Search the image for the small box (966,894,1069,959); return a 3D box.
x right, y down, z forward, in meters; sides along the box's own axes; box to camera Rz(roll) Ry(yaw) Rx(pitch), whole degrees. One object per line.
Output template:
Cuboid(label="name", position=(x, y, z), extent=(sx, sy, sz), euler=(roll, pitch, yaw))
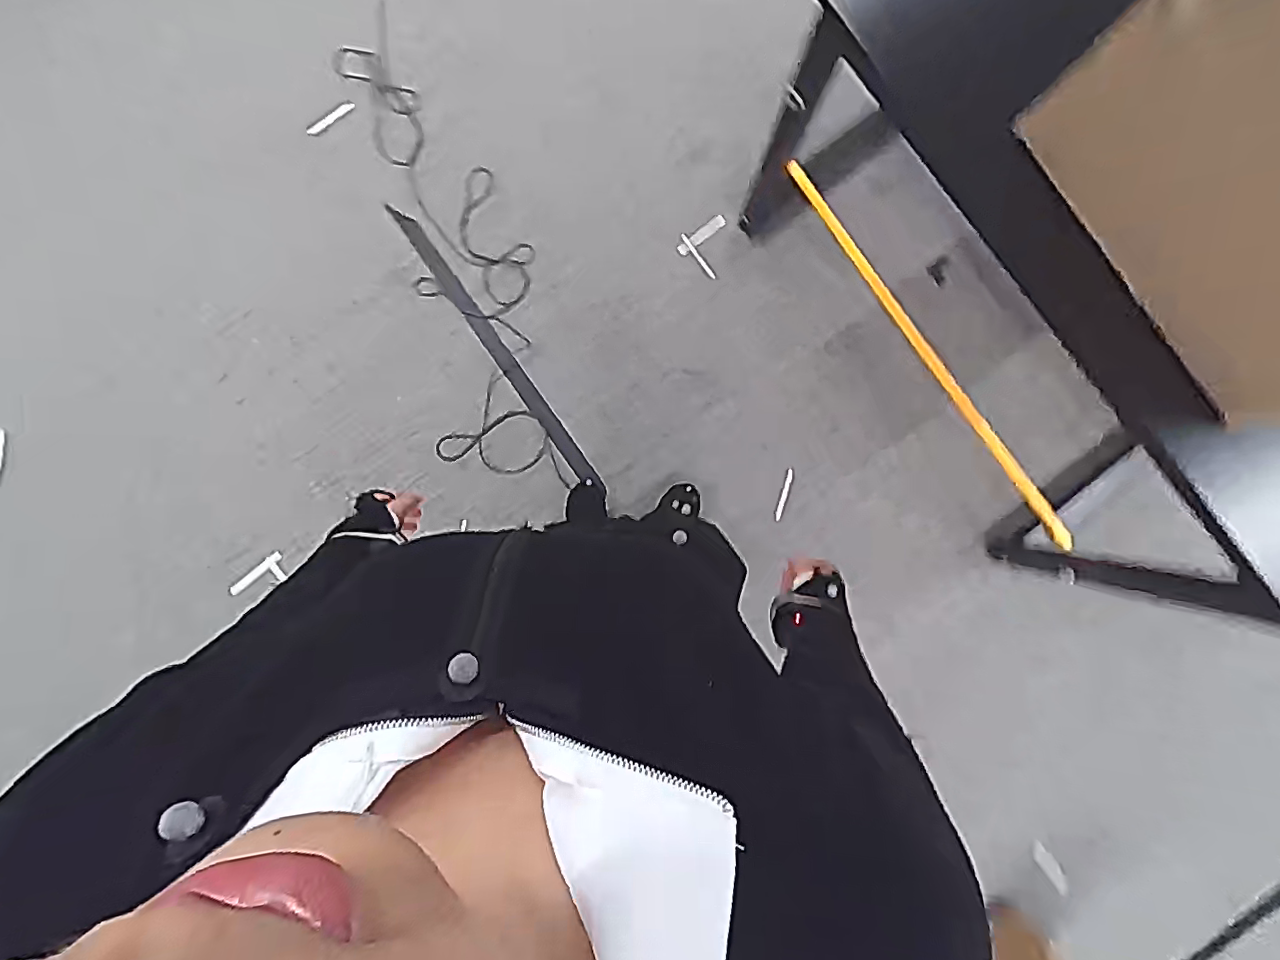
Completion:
Cuboid(label="small box", position=(1.014, 1.254, 1.418), extent=(0.168, 0.176, 0.179), euler=(-40, 89, -1))

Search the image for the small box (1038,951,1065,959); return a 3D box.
Cuboid(label="small box", position=(1.019, 1.266, 1.253), extent=(0.179, 0.176, 0.168), euler=(45, 89, 0))
